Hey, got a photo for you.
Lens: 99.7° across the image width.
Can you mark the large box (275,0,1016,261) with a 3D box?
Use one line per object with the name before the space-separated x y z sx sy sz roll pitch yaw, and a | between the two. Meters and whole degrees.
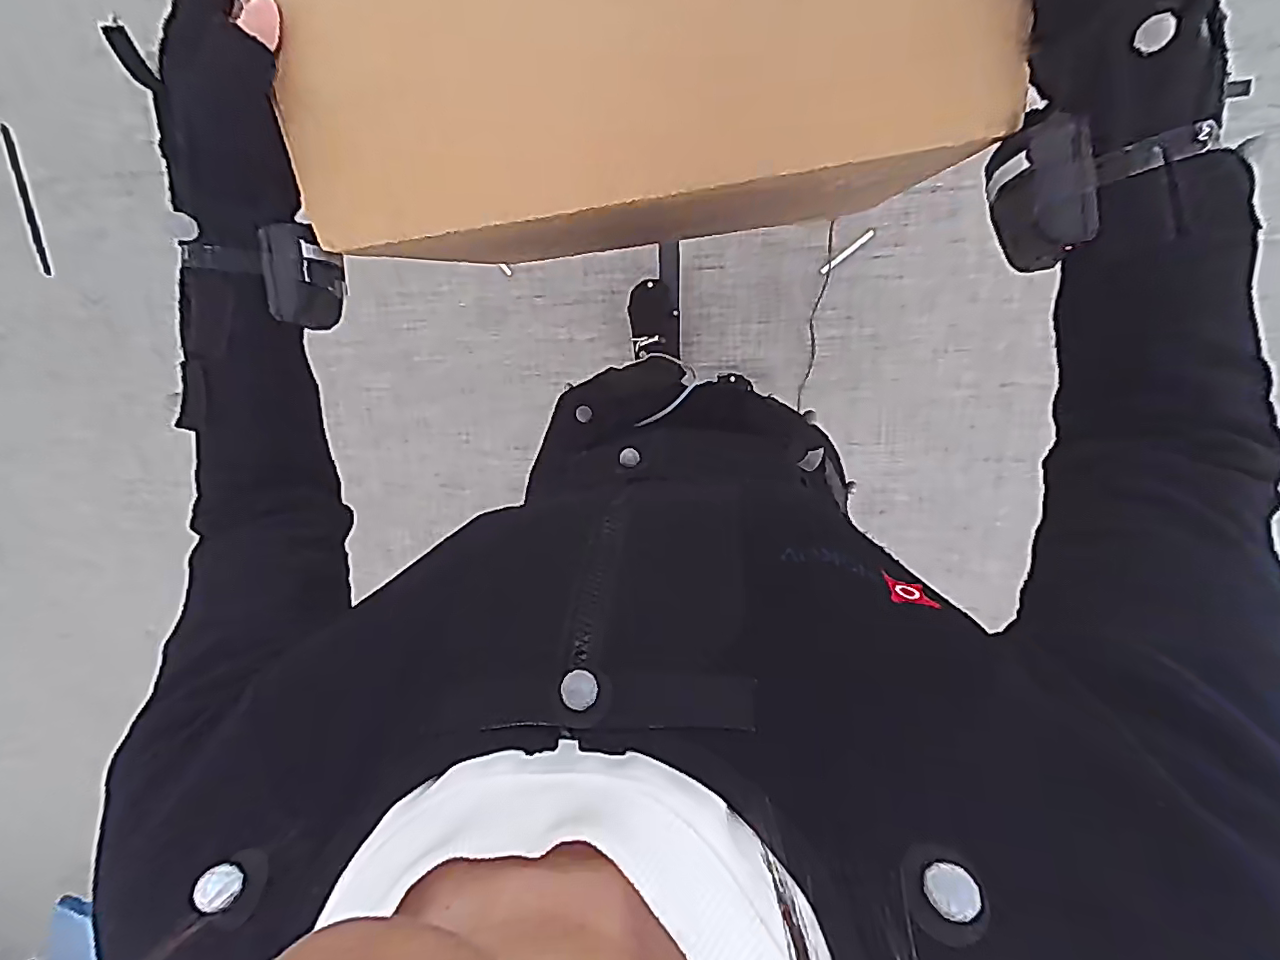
large box | -0.001 -0.367 0.412 0.408 0.320 0.320 -5 110 10
